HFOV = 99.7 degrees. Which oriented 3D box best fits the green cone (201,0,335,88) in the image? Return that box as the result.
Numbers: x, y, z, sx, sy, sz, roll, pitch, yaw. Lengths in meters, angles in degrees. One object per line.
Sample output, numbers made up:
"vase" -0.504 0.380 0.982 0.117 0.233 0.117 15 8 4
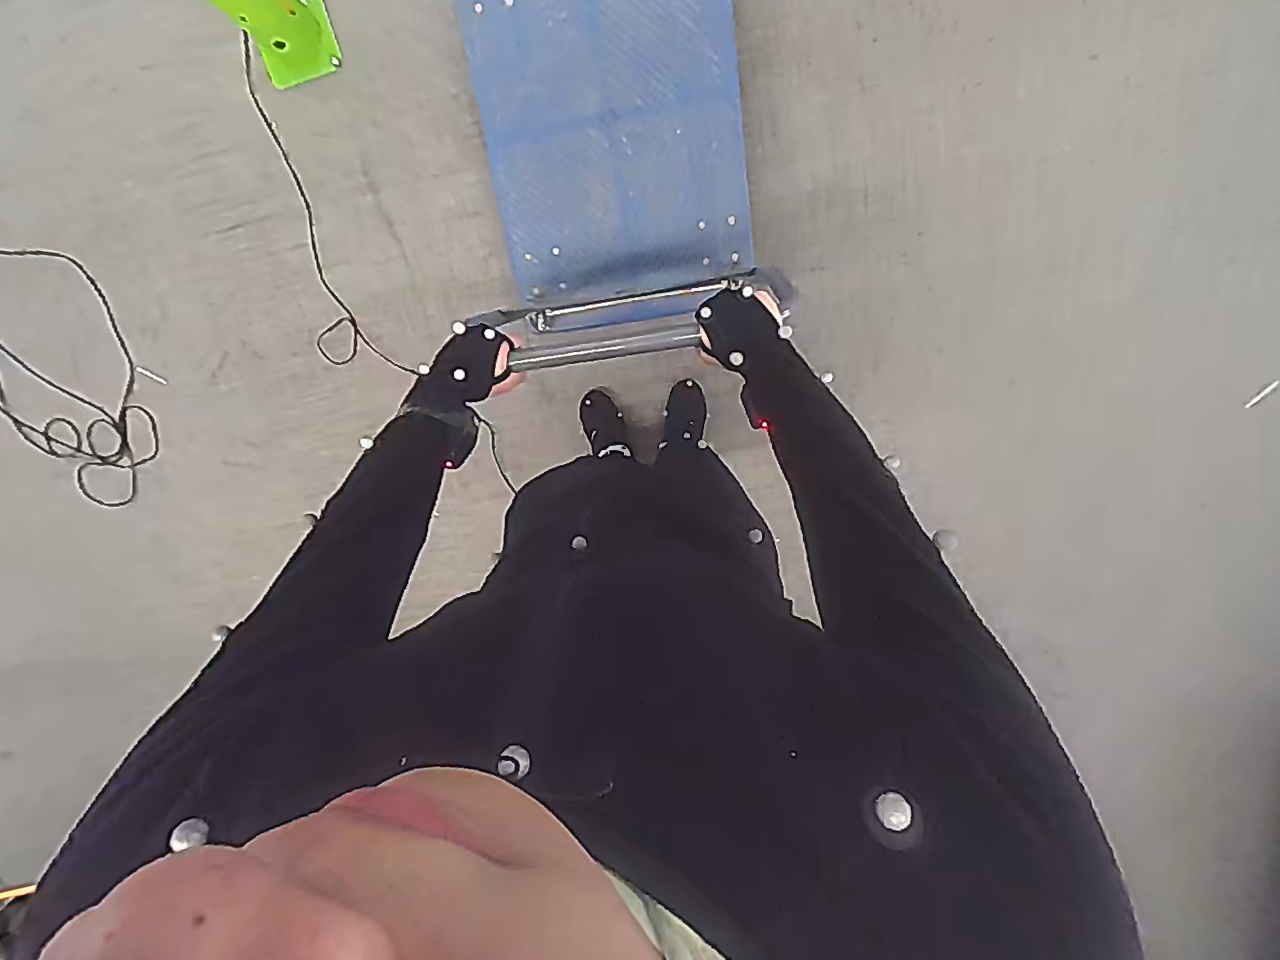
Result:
"green cone" -0.886 -1.051 1.170 0.202 0.368 0.200 -12 106 10
